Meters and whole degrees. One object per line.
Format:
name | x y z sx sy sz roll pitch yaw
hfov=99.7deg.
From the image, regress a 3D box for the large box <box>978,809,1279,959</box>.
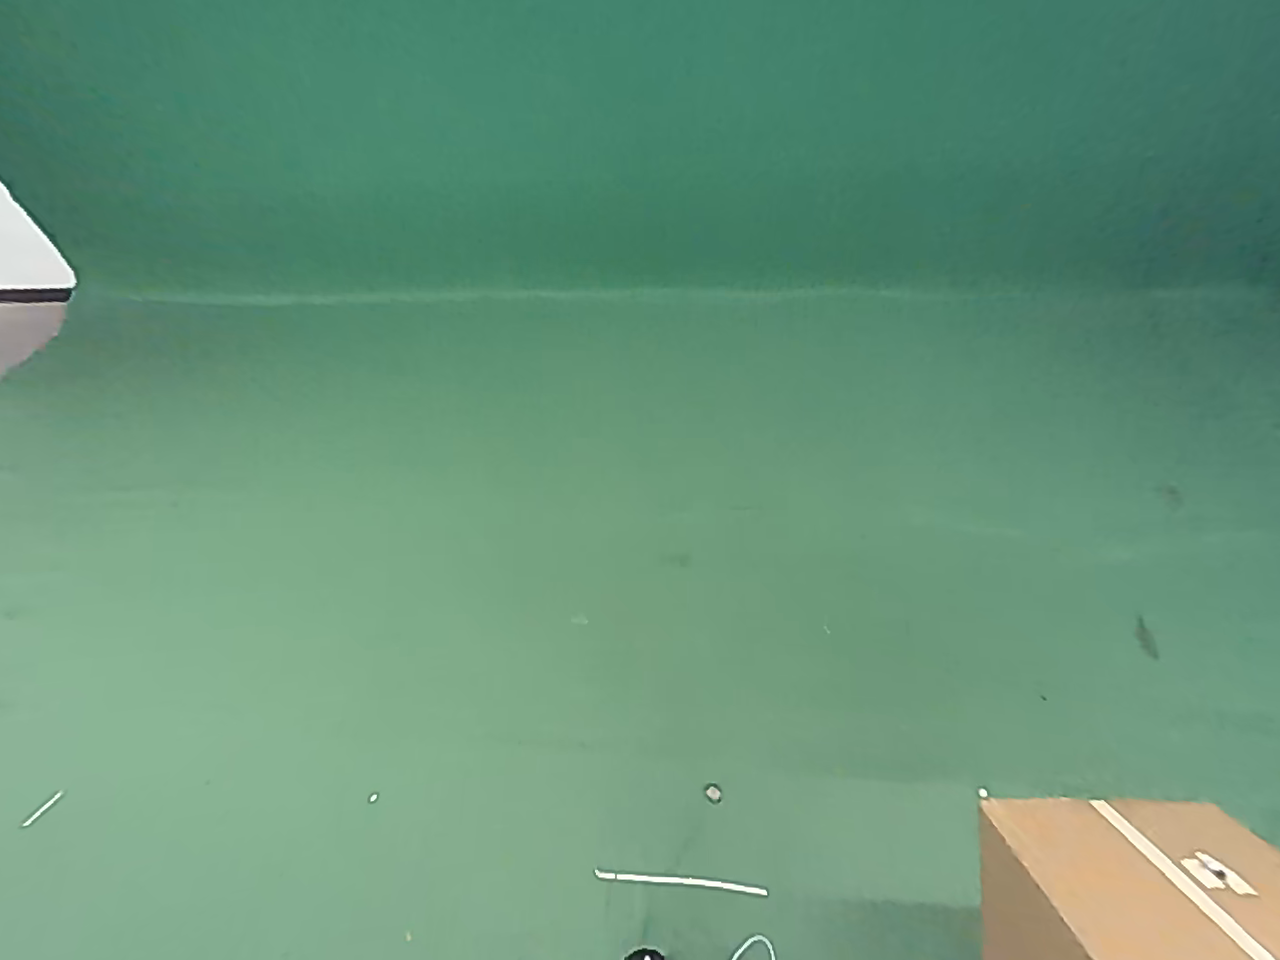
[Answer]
large box | 0.640 0.644 0.594 0.320 0.408 0.320 -4 93 8
